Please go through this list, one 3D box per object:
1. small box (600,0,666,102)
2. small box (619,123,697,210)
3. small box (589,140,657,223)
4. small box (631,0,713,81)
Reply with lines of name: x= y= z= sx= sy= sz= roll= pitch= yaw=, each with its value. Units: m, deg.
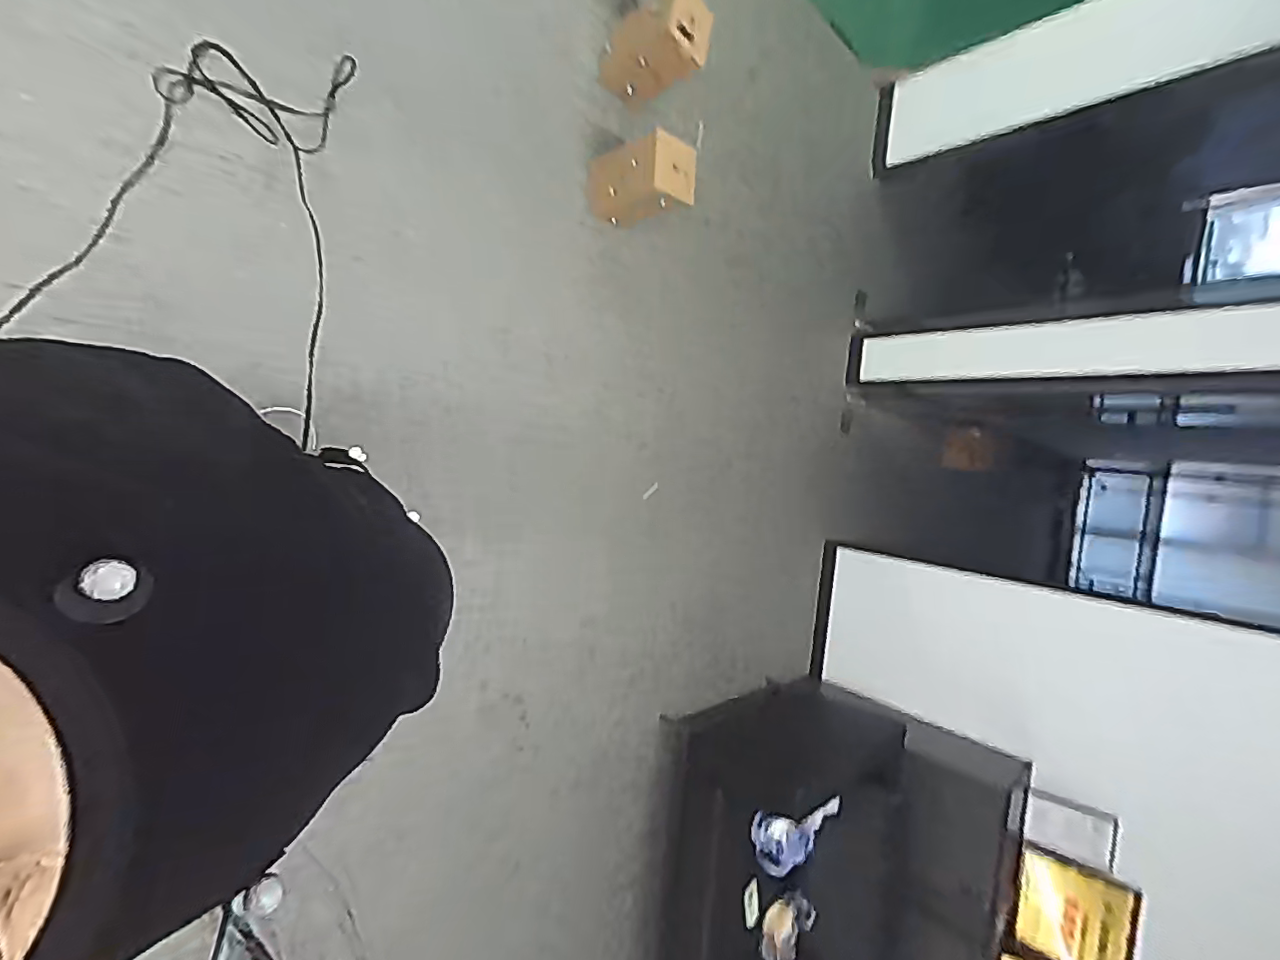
small box: x=-0.012 y=-1.391 z=1.769 sx=0.168 sy=0.176 sz=0.179 roll=13 pitch=88 yaw=-44
small box: x=0.052 y=-0.957 z=1.670 sx=0.179 sy=0.176 sz=0.168 roll=-3 pitch=100 yaw=-43
small box: x=-0.055 y=-0.980 z=1.793 sx=0.168 sy=0.176 sz=0.179 roll=-4 pitch=100 yaw=-42
small box: x=0.094 y=-1.374 z=1.644 sx=0.168 sy=0.176 sz=0.179 roll=15 pitch=85 yaw=-43
